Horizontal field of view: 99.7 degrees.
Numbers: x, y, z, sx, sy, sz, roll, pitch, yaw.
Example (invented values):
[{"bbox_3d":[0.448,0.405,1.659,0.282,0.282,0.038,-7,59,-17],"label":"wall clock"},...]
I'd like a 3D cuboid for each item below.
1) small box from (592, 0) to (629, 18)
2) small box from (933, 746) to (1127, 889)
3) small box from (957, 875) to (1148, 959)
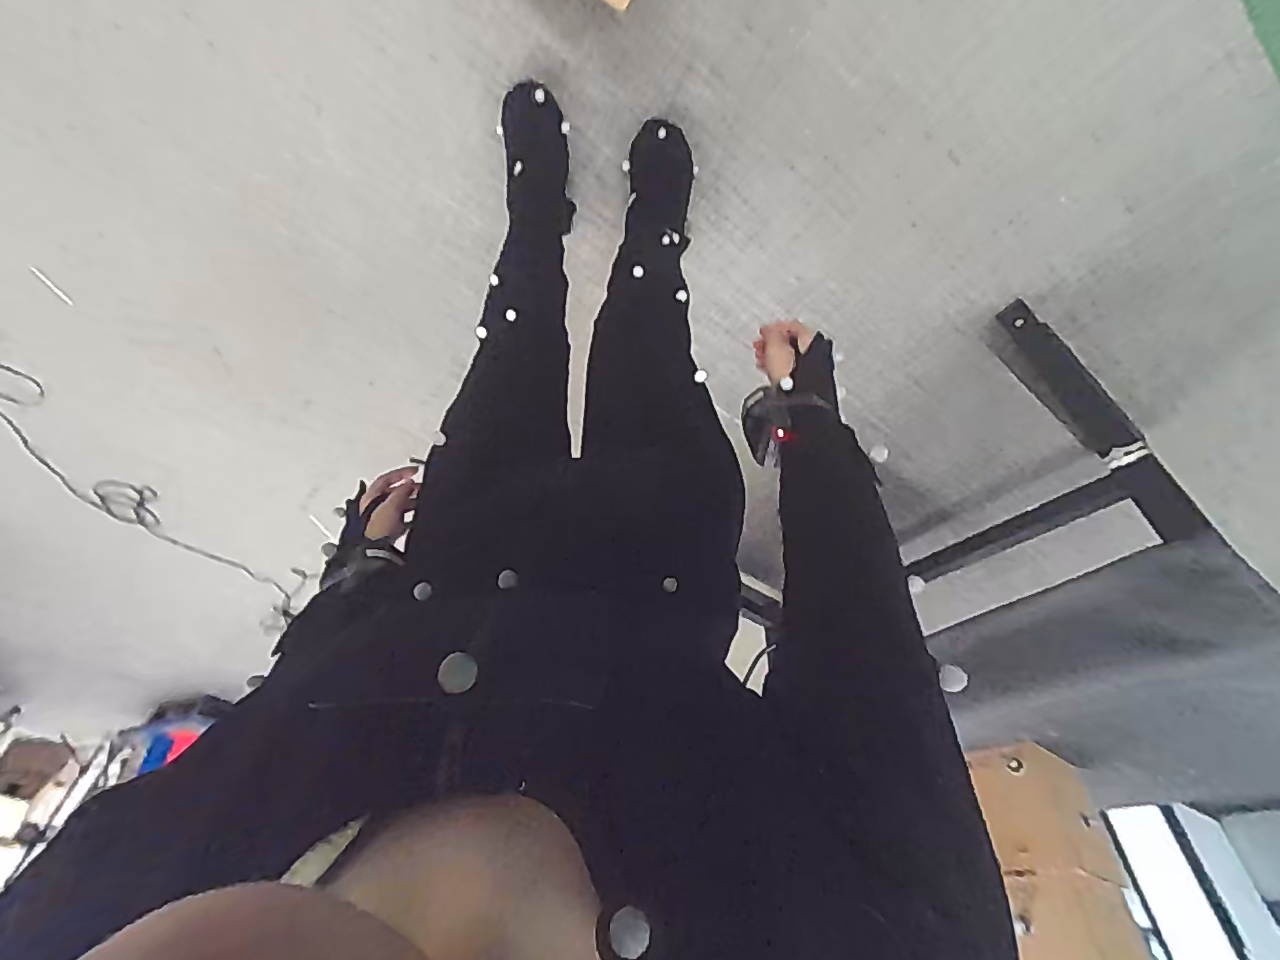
[{"bbox_3d":[-0.048,-0.723,0.661,0.168,0.176,0.179,23,132,-20],"label":"small box"},{"bbox_3d":[0.604,0.538,0.859,0.179,0.176,0.168,31,131,-26],"label":"small box"},{"bbox_3d":[0.591,0.669,0.758,0.179,0.176,0.168,29,131,-24],"label":"small box"}]
